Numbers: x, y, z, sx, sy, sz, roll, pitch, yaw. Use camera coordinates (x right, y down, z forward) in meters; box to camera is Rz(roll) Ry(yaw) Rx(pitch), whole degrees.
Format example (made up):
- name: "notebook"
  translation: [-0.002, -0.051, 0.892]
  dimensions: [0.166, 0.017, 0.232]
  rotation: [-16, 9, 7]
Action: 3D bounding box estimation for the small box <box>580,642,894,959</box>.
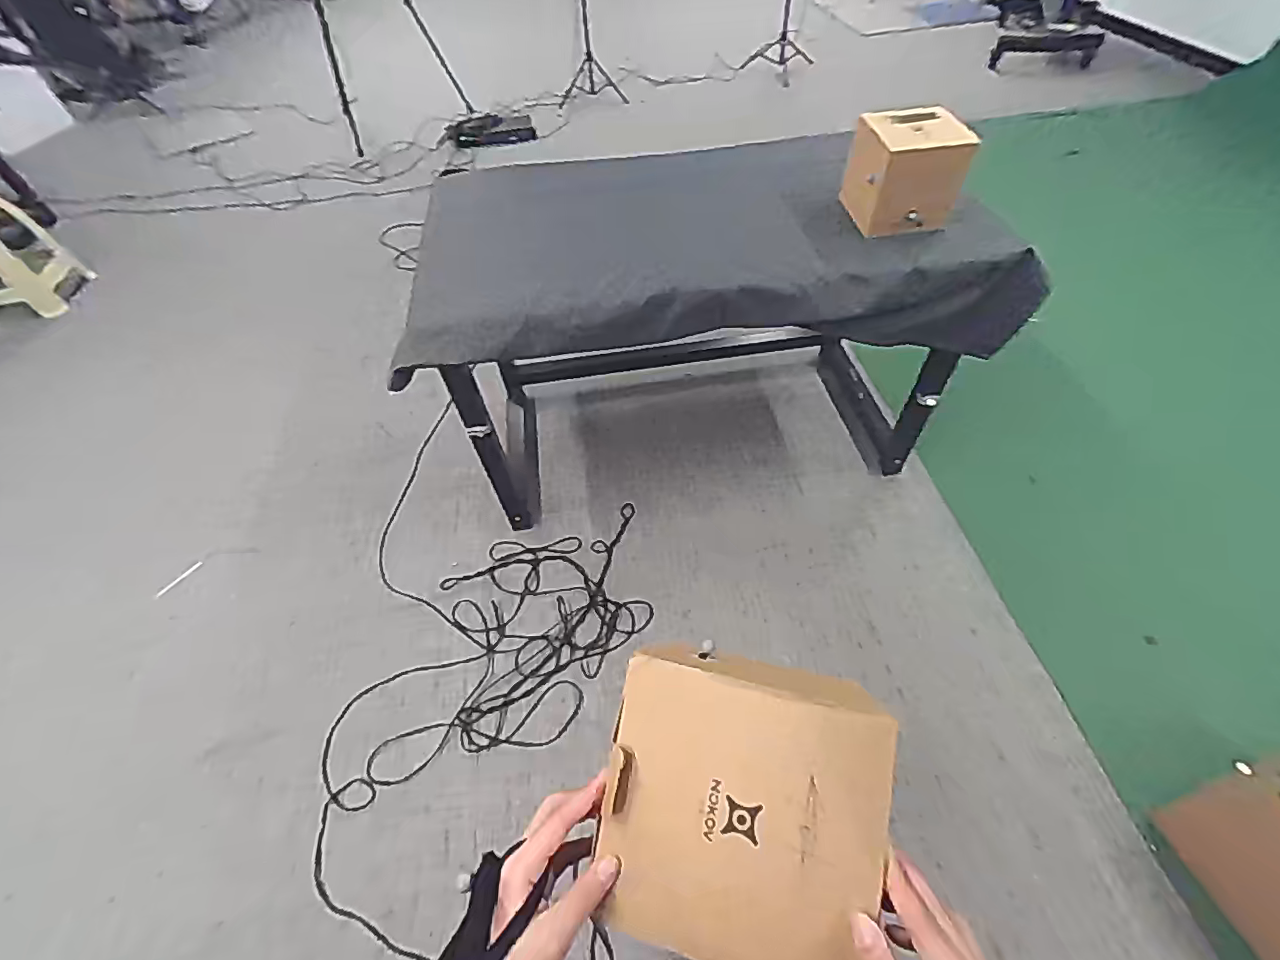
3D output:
- name: "small box"
  translation: [0.076, 0.222, 0.410]
  dimensions: [0.179, 0.176, 0.168]
  rotation: [7, 78, 15]
